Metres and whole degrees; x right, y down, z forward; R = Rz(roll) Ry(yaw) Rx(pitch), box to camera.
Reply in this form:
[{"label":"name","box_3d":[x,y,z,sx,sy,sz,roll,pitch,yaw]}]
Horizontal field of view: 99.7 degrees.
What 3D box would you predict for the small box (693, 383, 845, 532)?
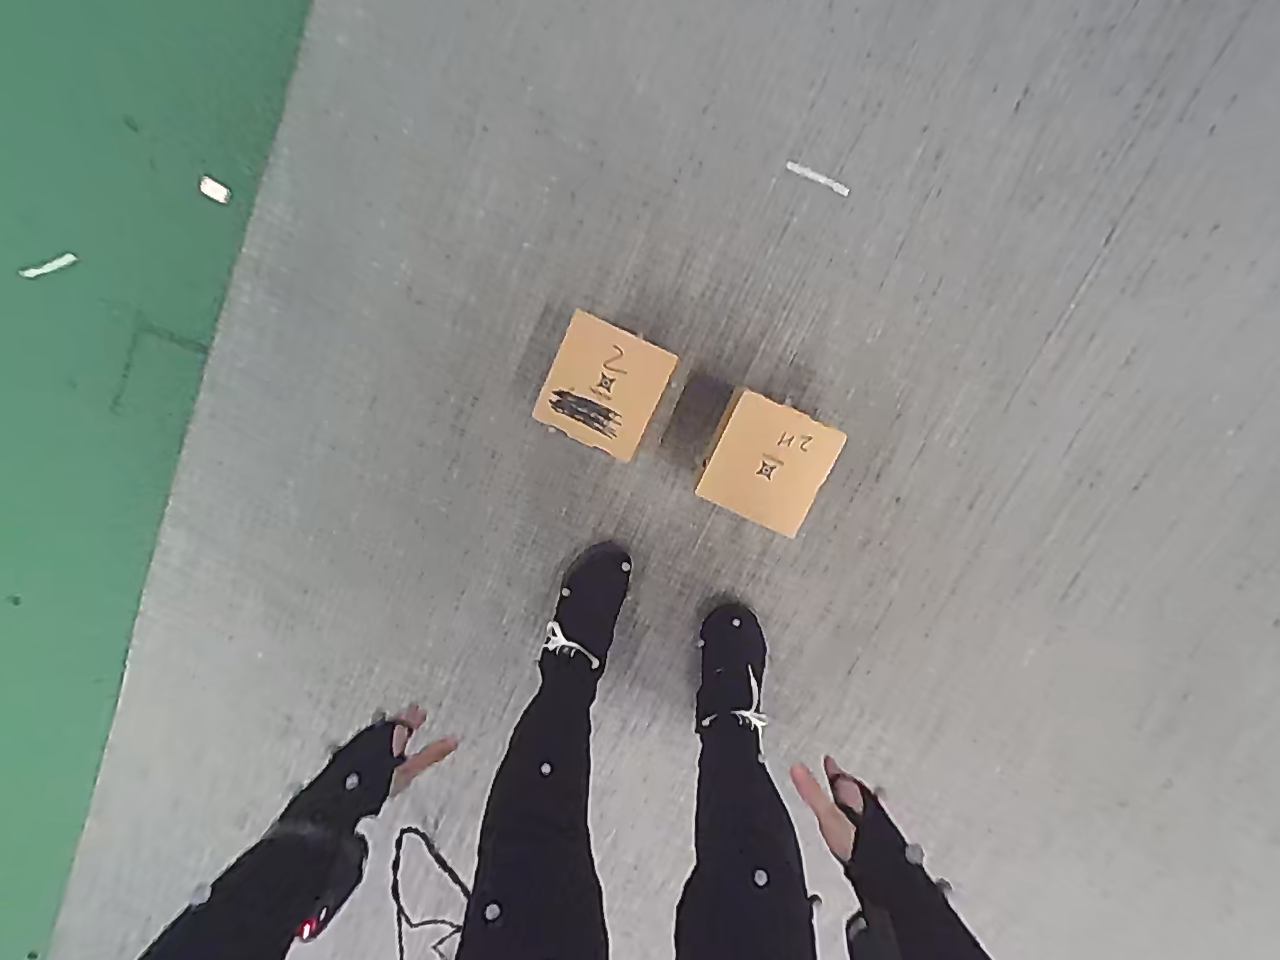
[{"label":"small box","box_3d":[0.197,-0.044,0.874,0.168,0.176,0.179,25,101,0]}]
